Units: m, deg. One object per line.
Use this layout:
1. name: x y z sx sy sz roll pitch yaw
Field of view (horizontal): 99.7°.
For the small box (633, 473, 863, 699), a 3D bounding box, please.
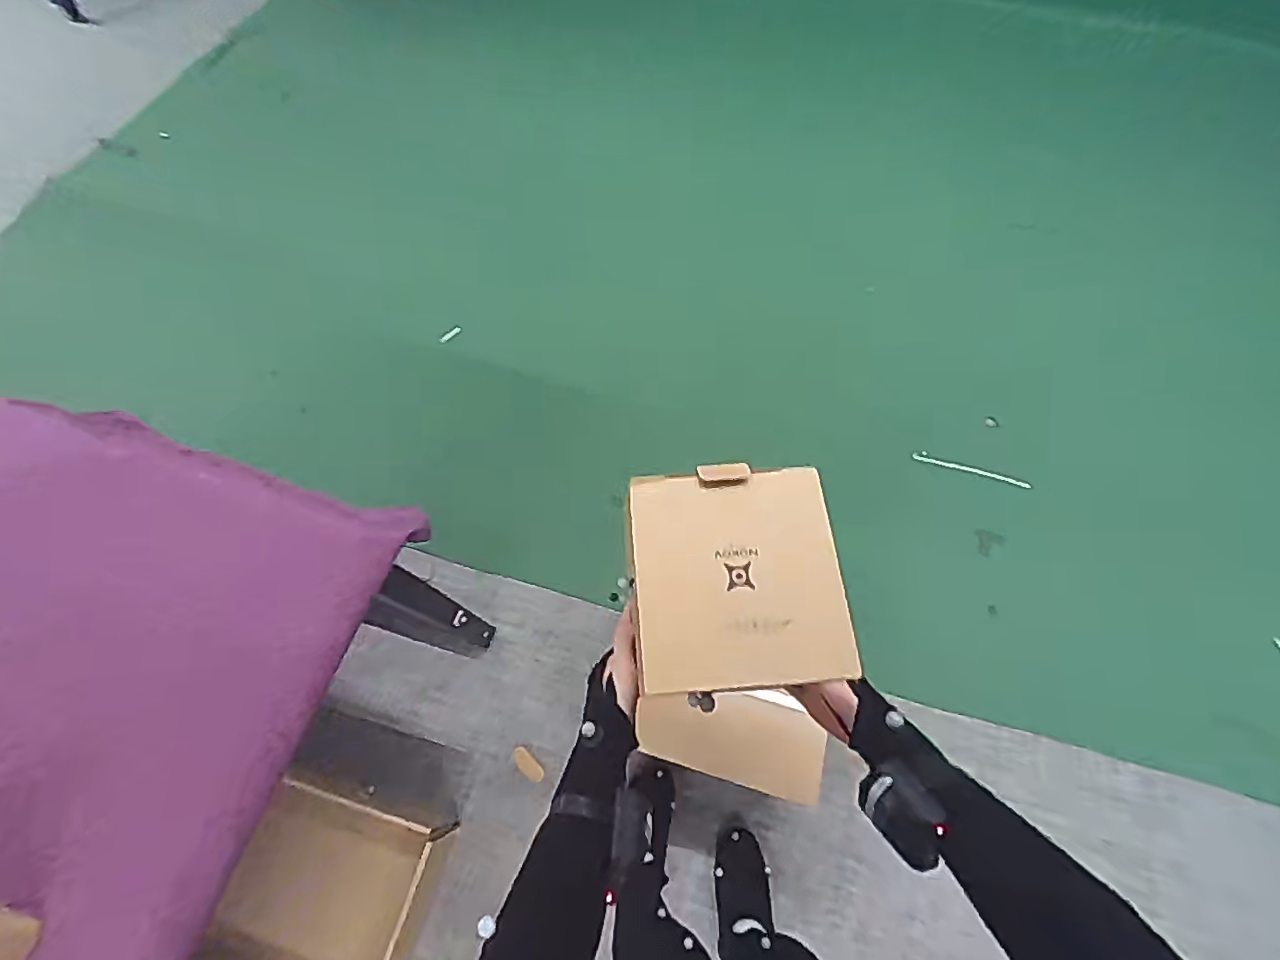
1. small box: 0.080 0.107 0.509 0.168 0.176 0.179 -2 67 -3
